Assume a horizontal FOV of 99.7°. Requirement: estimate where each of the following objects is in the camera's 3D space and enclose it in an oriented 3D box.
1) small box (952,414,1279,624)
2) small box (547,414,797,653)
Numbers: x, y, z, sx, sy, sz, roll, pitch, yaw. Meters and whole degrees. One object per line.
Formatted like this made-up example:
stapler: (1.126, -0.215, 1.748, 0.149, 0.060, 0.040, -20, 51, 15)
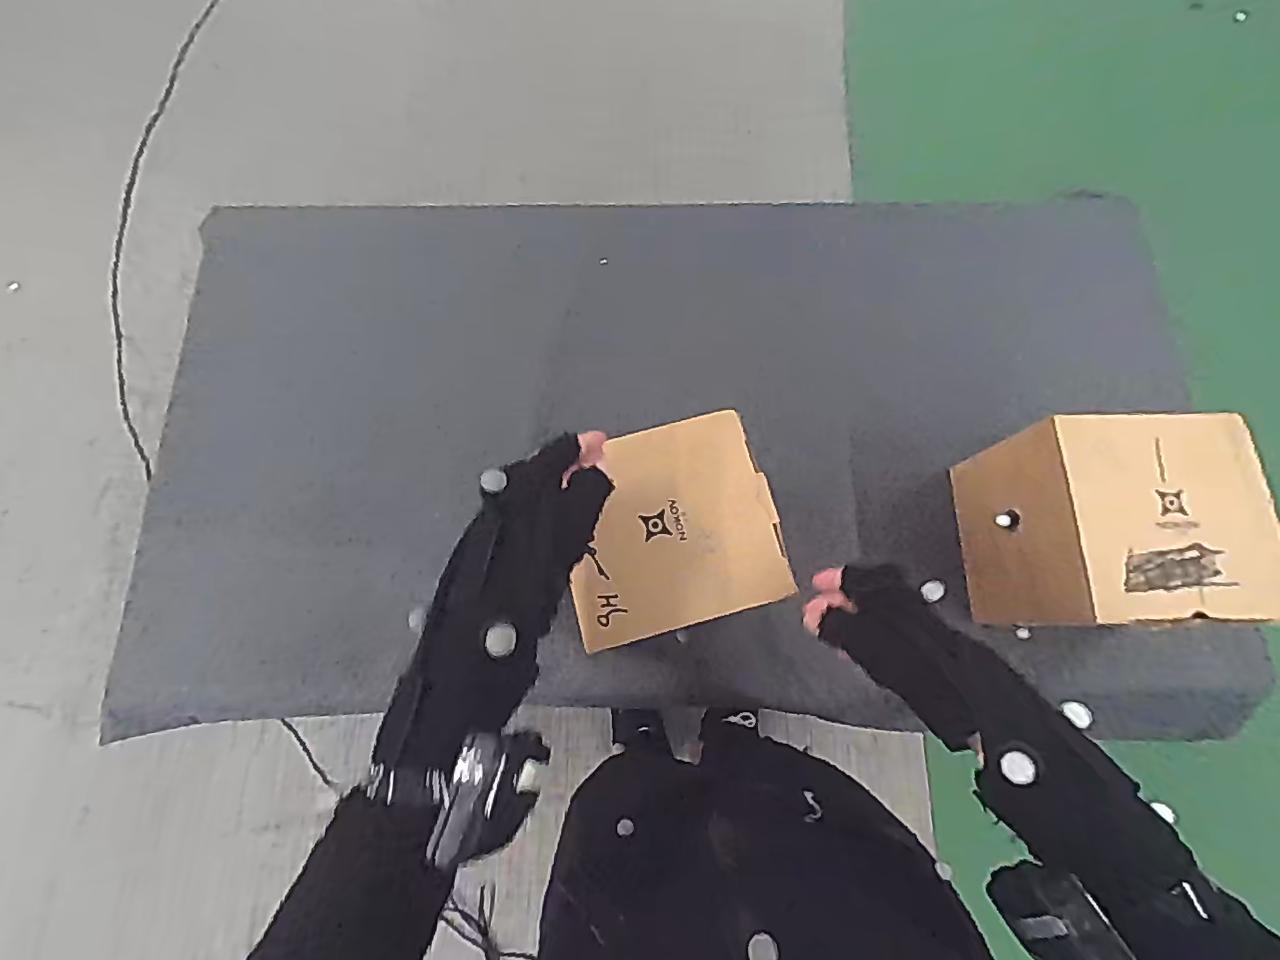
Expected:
small box: (0.434, 0.048, 0.520, 0.168, 0.176, 0.179, 0, 74, 0)
small box: (0.021, 0.057, 0.517, 0.179, 0.176, 0.168, -14, 75, -5)
